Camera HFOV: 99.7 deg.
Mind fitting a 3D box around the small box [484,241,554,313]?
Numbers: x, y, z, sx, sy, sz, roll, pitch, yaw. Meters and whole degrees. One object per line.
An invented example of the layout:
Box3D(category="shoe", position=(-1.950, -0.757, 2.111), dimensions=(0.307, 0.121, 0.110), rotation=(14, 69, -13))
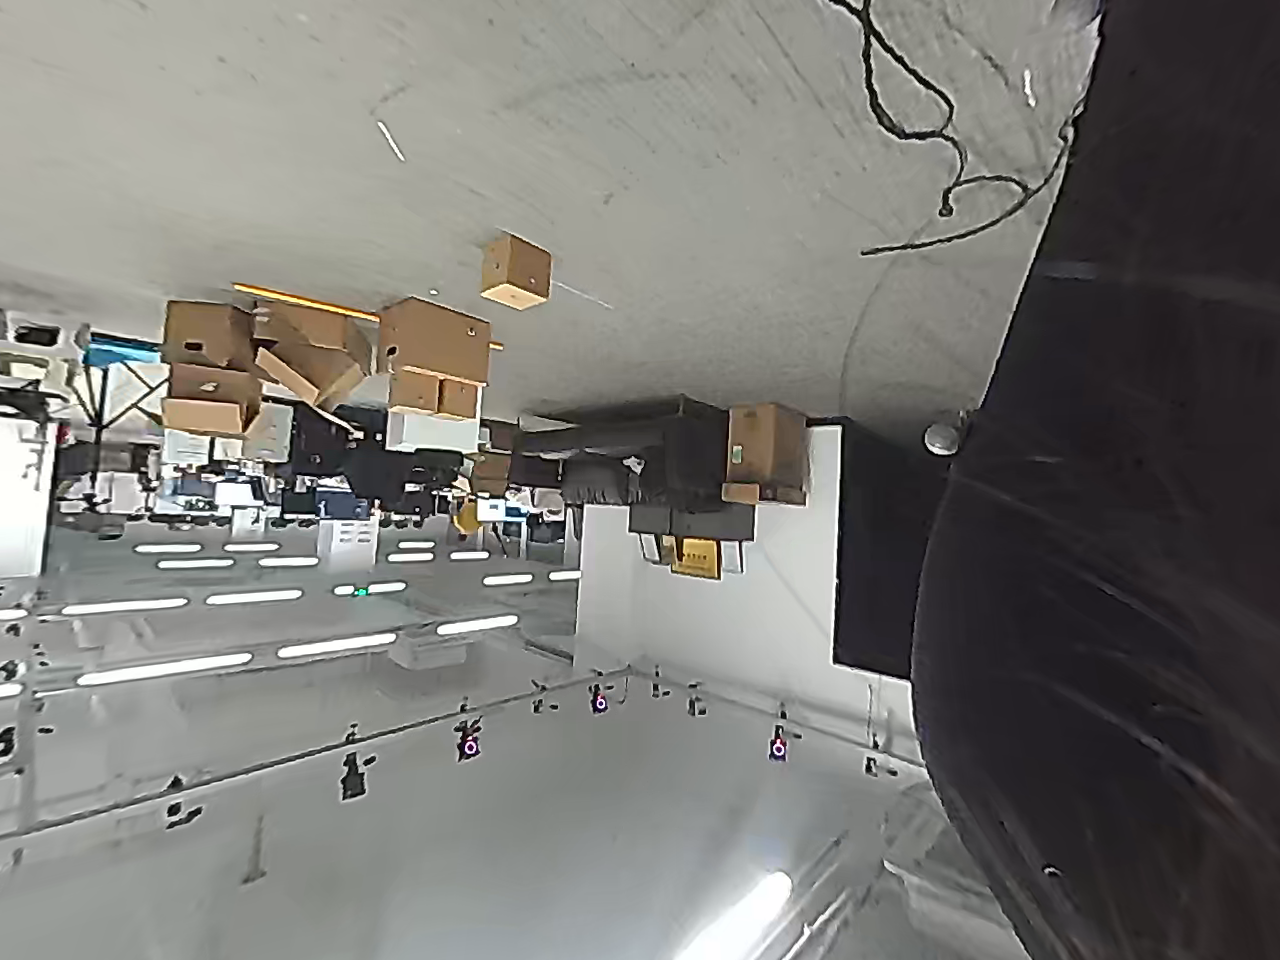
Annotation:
Box3D(category="small box", position=(-0.413, -0.698, 1.857), dimensions=(0.168, 0.176, 0.179), rotation=(0, 176, 43))
